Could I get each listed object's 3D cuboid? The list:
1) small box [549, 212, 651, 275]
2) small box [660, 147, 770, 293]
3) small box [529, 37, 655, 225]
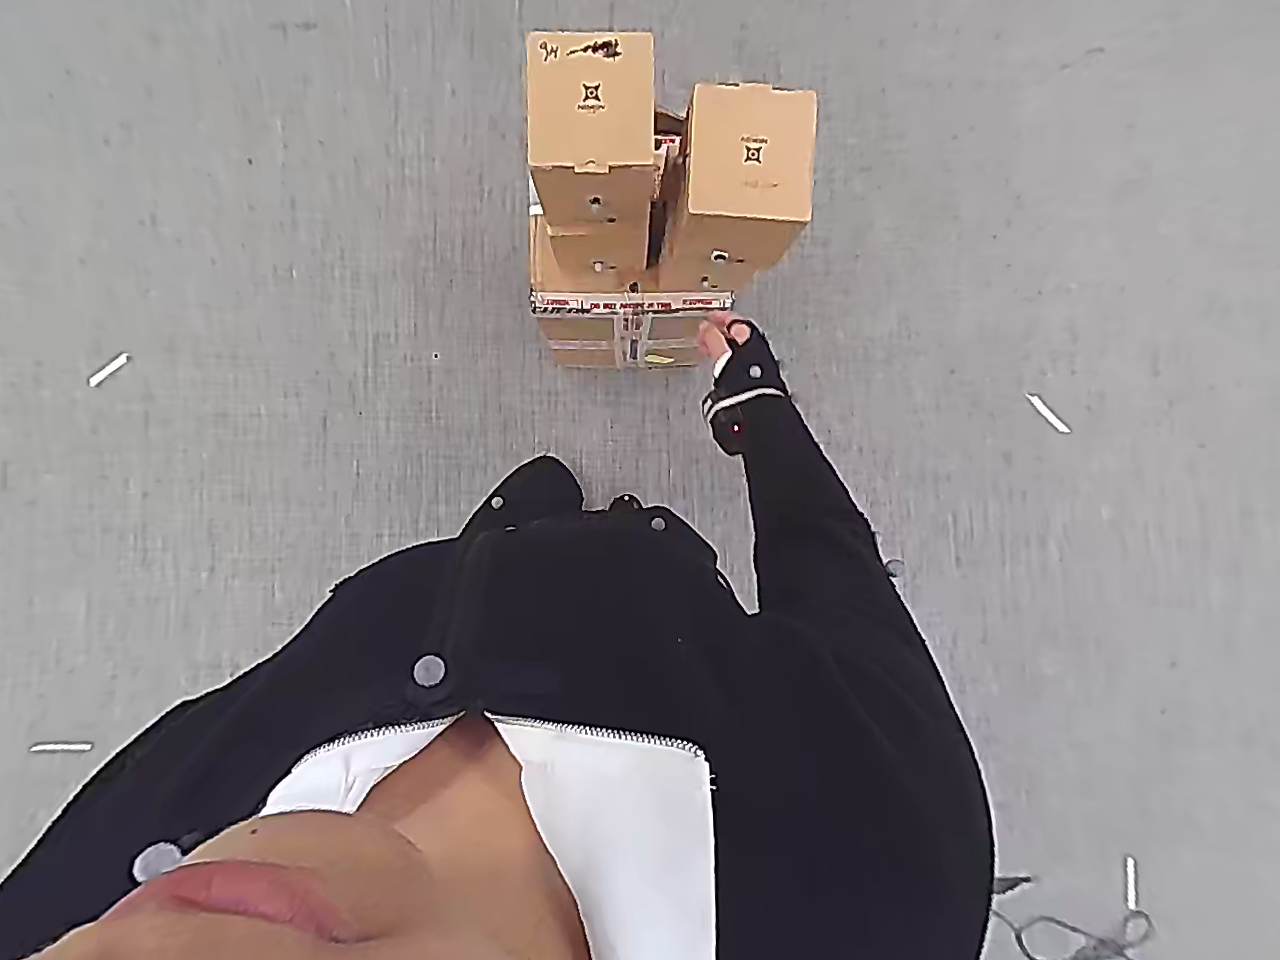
[{"bbox_3d":[-0.068,-0.476,0.944,0.168,0.176,0.179,-2,92,-1],"label":"small box"},{"bbox_3d":[0.124,-0.447,0.950,0.168,0.176,0.179,0,90,-3],"label":"small box"},{"bbox_3d":[-0.062,-0.487,0.779,0.168,0.176,0.179,0,92,0],"label":"small box"}]
